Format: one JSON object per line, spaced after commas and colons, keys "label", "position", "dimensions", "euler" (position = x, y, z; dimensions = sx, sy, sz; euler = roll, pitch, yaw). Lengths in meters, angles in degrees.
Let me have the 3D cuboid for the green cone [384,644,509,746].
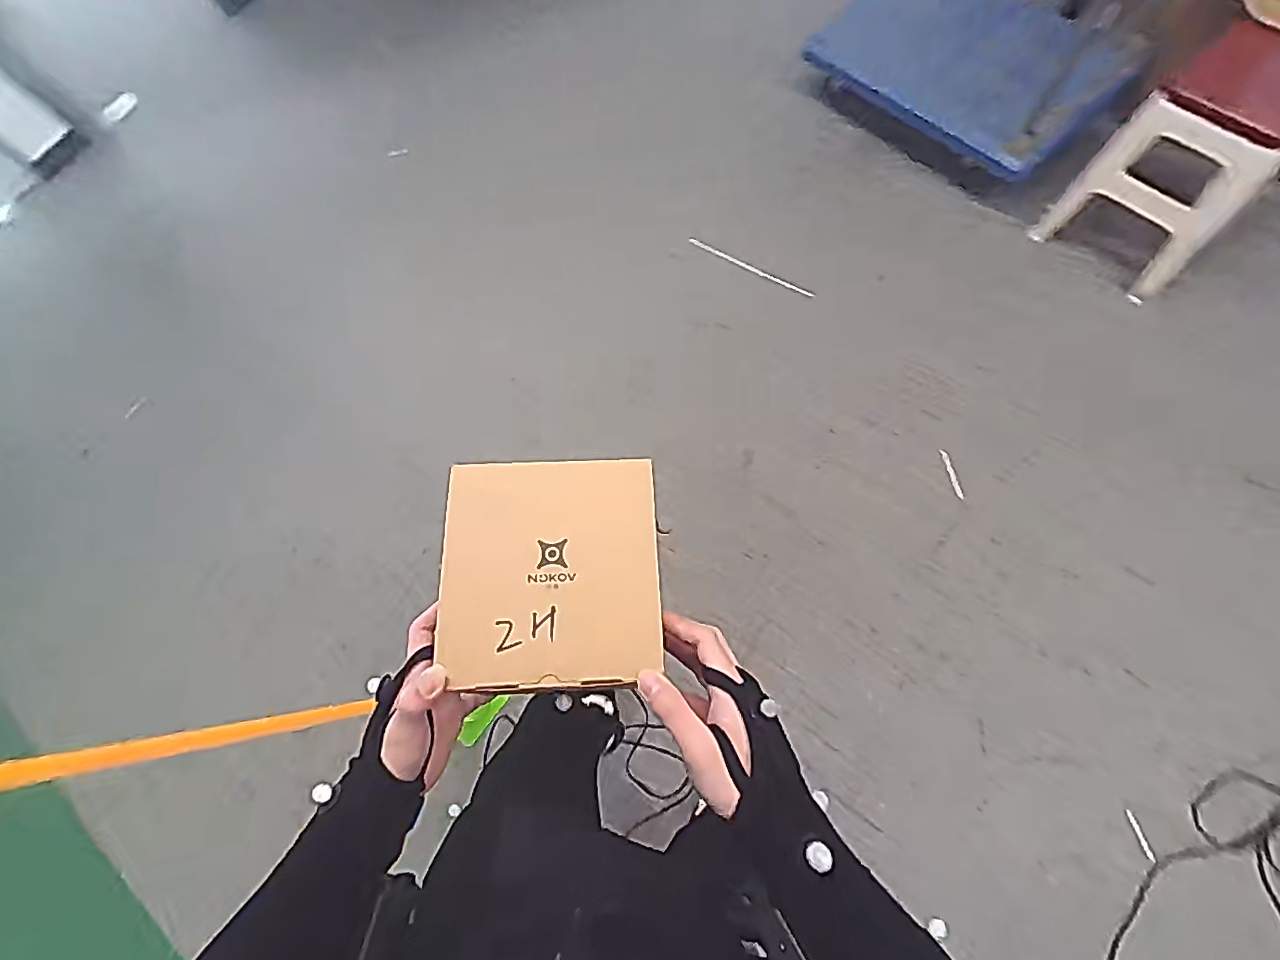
{"label": "green cone", "position": [-0.501, 0.523, 1.296], "dimensions": [0.202, 0.368, 0.200], "euler": [35, 80, 17]}
